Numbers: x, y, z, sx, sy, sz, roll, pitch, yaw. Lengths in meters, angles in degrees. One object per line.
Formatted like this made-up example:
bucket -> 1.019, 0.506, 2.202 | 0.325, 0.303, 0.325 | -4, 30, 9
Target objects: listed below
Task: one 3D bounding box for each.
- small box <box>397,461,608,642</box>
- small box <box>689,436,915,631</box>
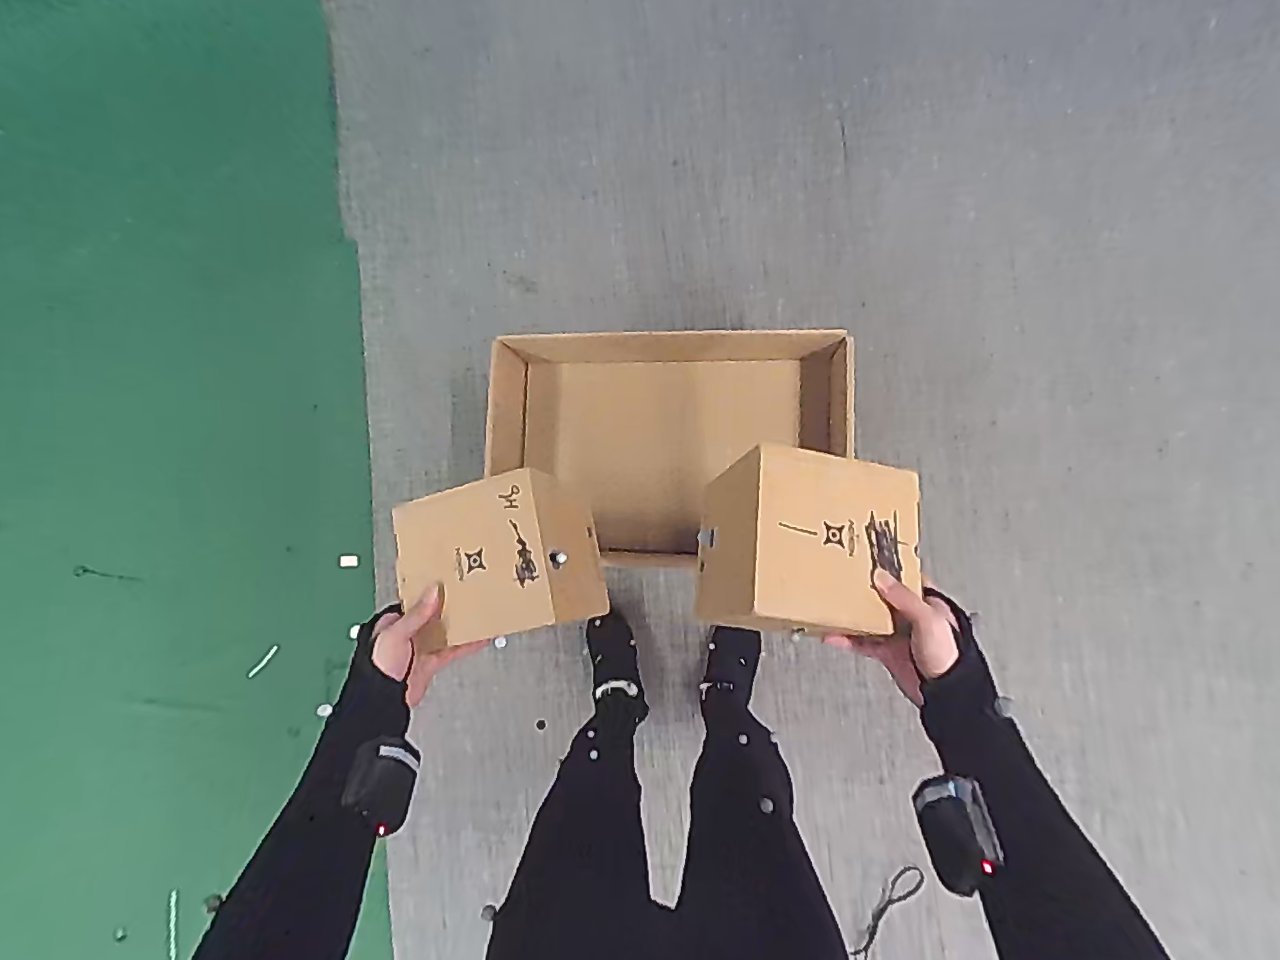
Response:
small box -> -0.158, 0.092, 0.652 | 0.179, 0.176, 0.168 | -15, 76, 14
small box -> 0.167, 0.071, 0.590 | 0.179, 0.176, 0.168 | 10, 71, -9
